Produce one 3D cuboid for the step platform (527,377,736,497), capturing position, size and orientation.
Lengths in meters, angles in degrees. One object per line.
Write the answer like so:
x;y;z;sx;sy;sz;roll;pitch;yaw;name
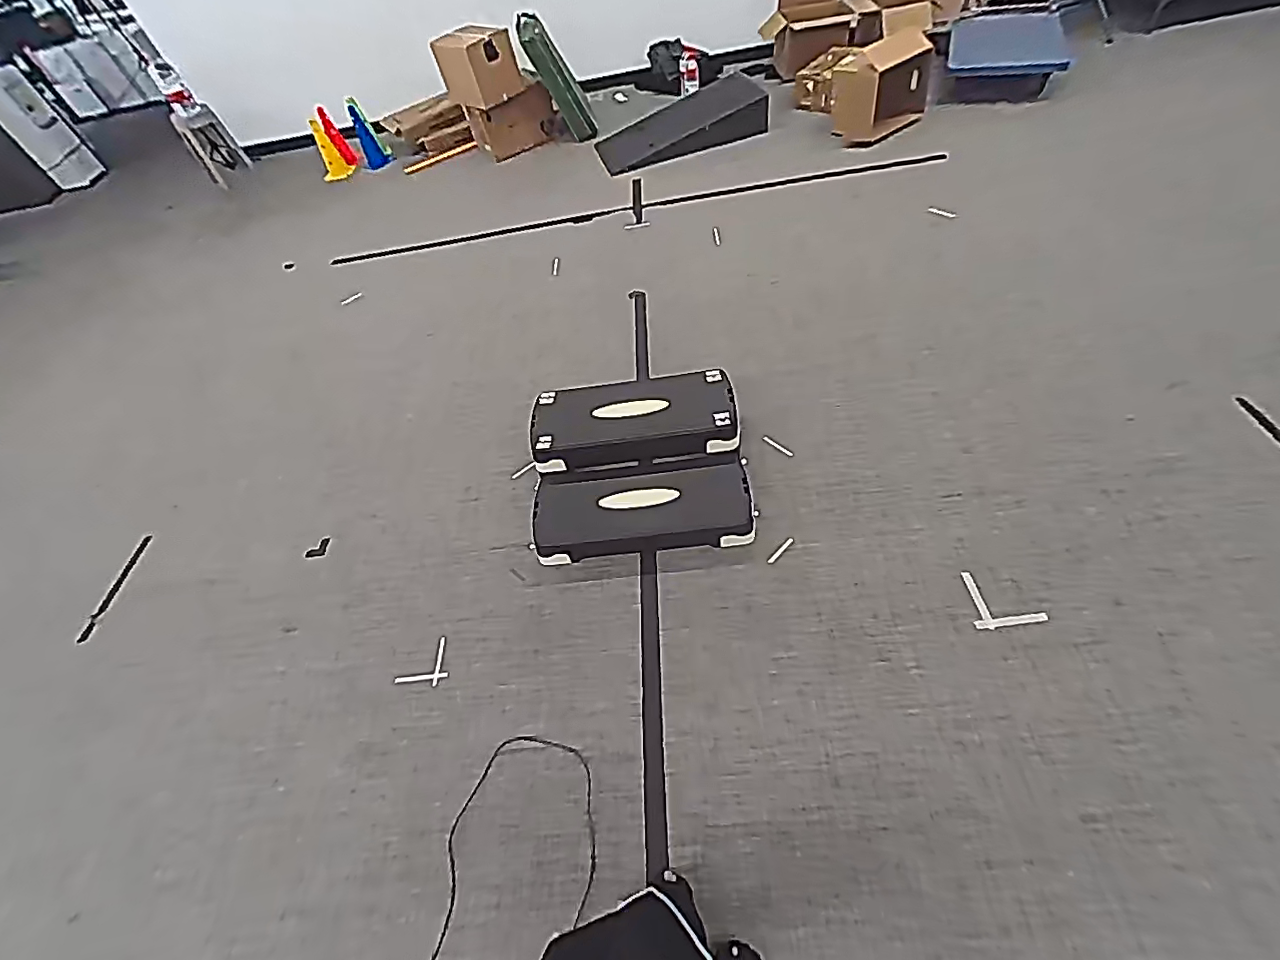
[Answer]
-0.029;-0.146;1.798;0.684;0.204;0.286;-7;53;4;step platform
